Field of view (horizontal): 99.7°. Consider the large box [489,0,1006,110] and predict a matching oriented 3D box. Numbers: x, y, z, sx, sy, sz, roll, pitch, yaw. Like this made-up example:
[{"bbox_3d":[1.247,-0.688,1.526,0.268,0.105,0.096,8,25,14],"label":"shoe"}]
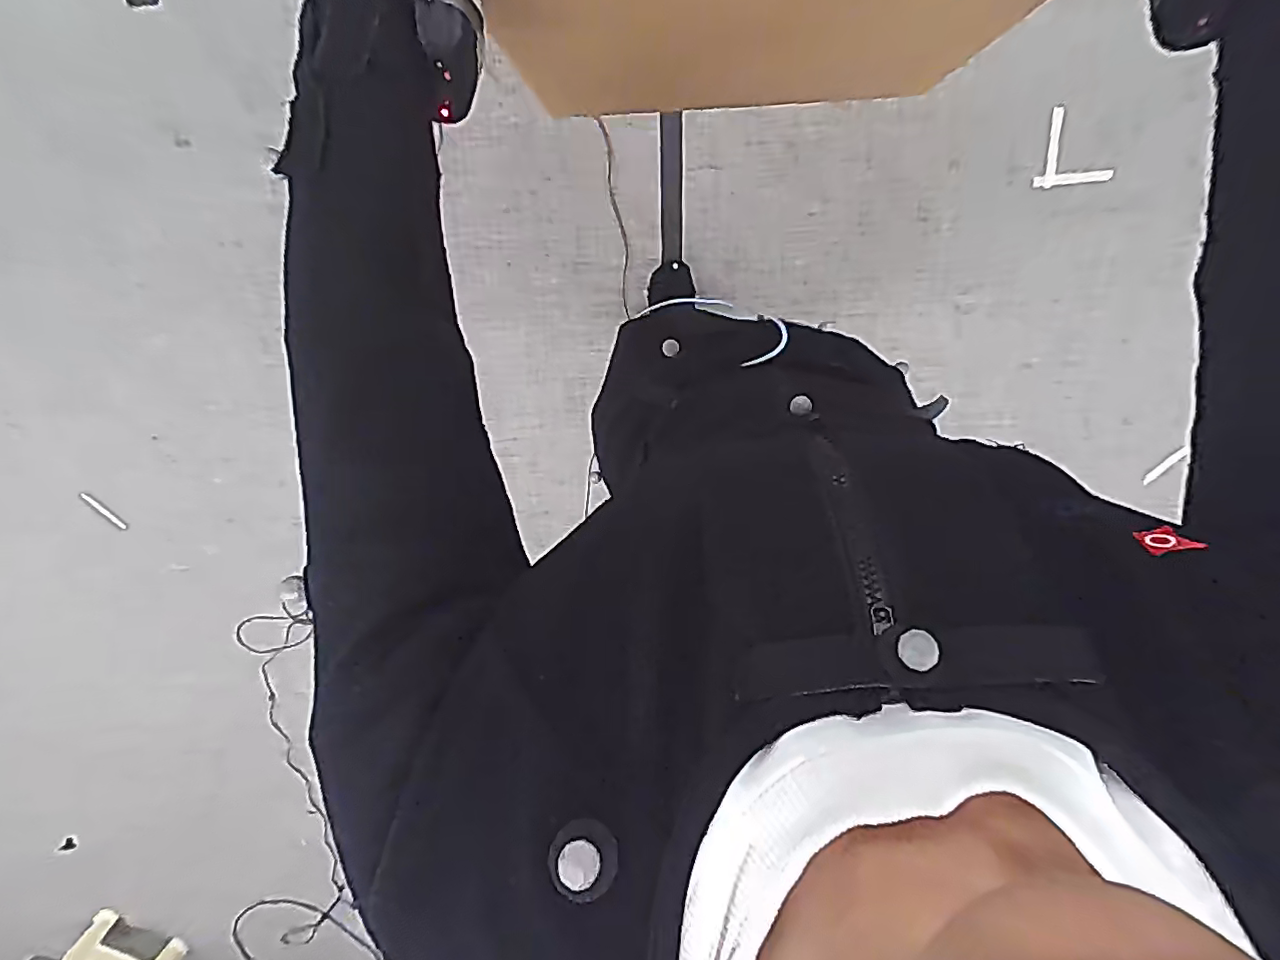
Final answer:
[{"bbox_3d":[0.083,-0.509,0.394,0.408,0.320,0.320,-2,110,3],"label":"large box"}]
